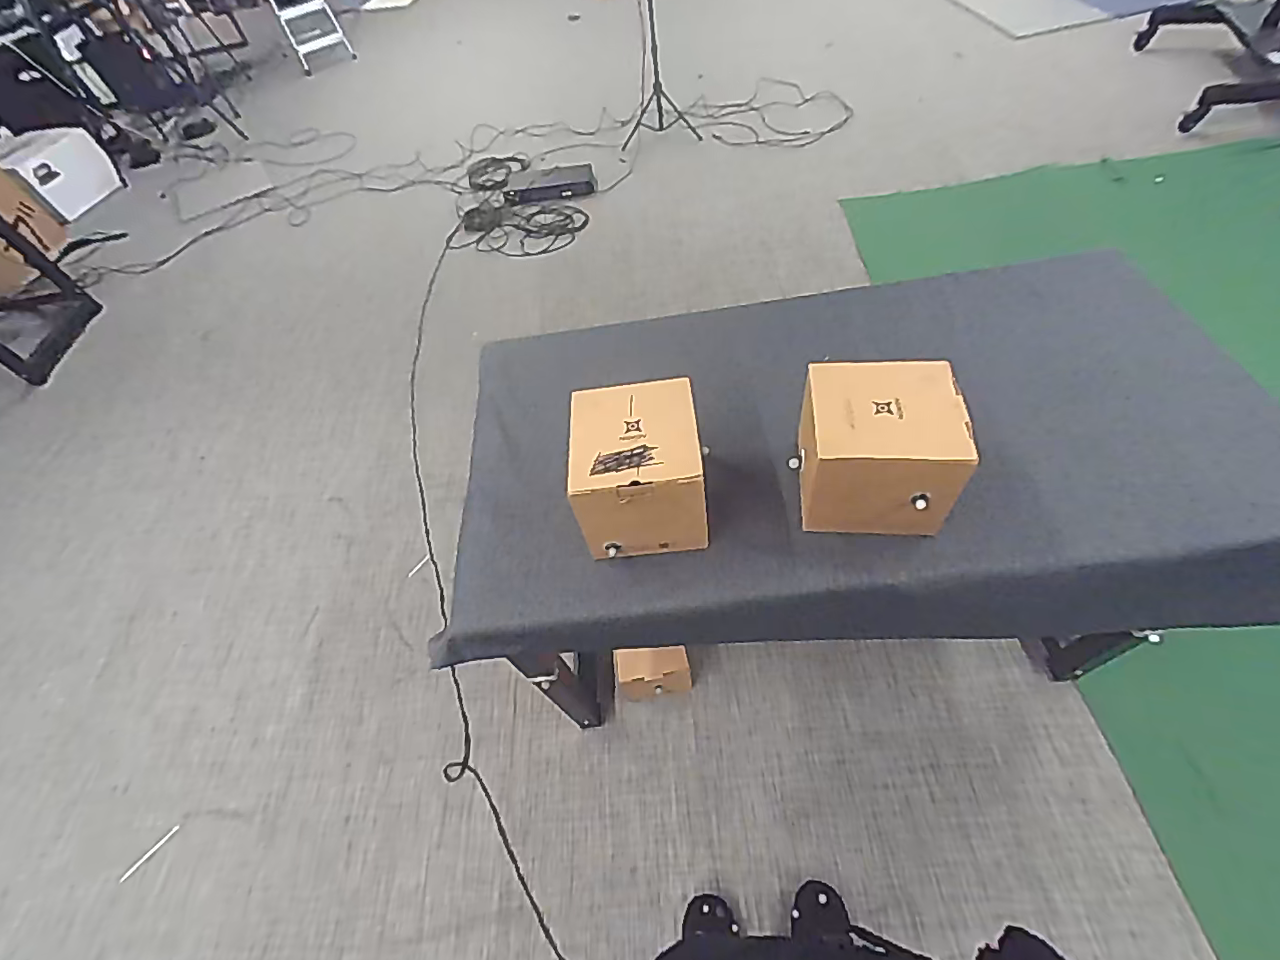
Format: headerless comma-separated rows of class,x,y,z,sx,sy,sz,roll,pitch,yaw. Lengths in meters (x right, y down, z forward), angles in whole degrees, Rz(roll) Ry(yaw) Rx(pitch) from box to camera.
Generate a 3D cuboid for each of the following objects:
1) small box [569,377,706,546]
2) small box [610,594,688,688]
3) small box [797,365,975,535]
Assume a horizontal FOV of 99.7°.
small box,0.003,-0.018,0.760,0.168,0.176,0.179,-5,53,4
small box,0.025,0.410,1.357,0.168,0.176,0.179,-10,55,1
small box,0.314,-0.036,0.732,0.179,0.176,0.168,1,54,10
